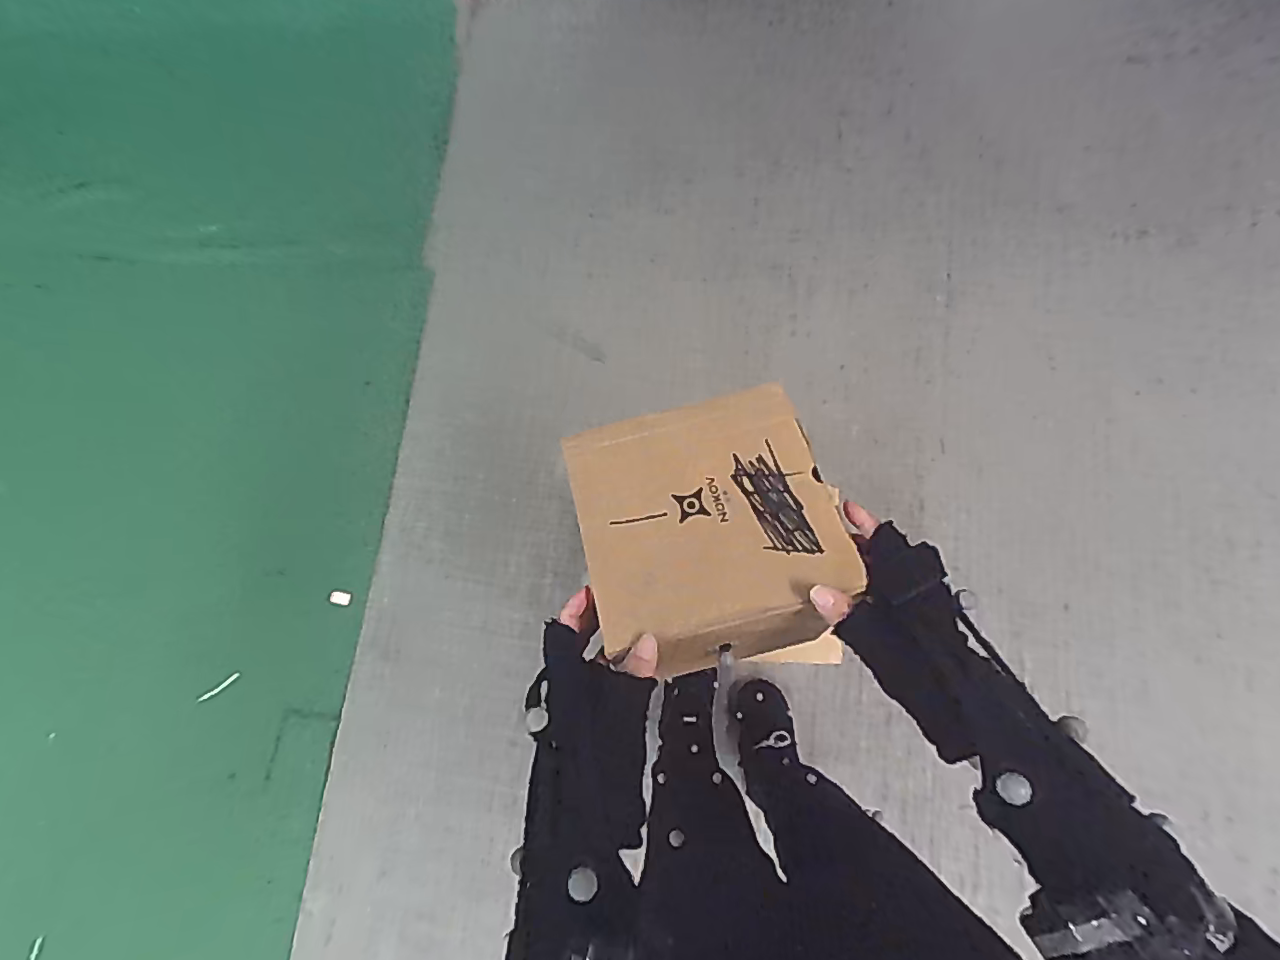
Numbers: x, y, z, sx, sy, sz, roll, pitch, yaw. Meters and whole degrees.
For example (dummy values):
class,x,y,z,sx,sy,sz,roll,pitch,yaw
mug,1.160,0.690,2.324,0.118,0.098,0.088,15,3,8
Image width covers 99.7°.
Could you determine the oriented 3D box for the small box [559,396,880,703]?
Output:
class,x,y,z,sx,sy,sz,roll,pitch,yaw
small box,0.048,0.065,0.432,0.179,0.176,0.168,-17,63,-6
